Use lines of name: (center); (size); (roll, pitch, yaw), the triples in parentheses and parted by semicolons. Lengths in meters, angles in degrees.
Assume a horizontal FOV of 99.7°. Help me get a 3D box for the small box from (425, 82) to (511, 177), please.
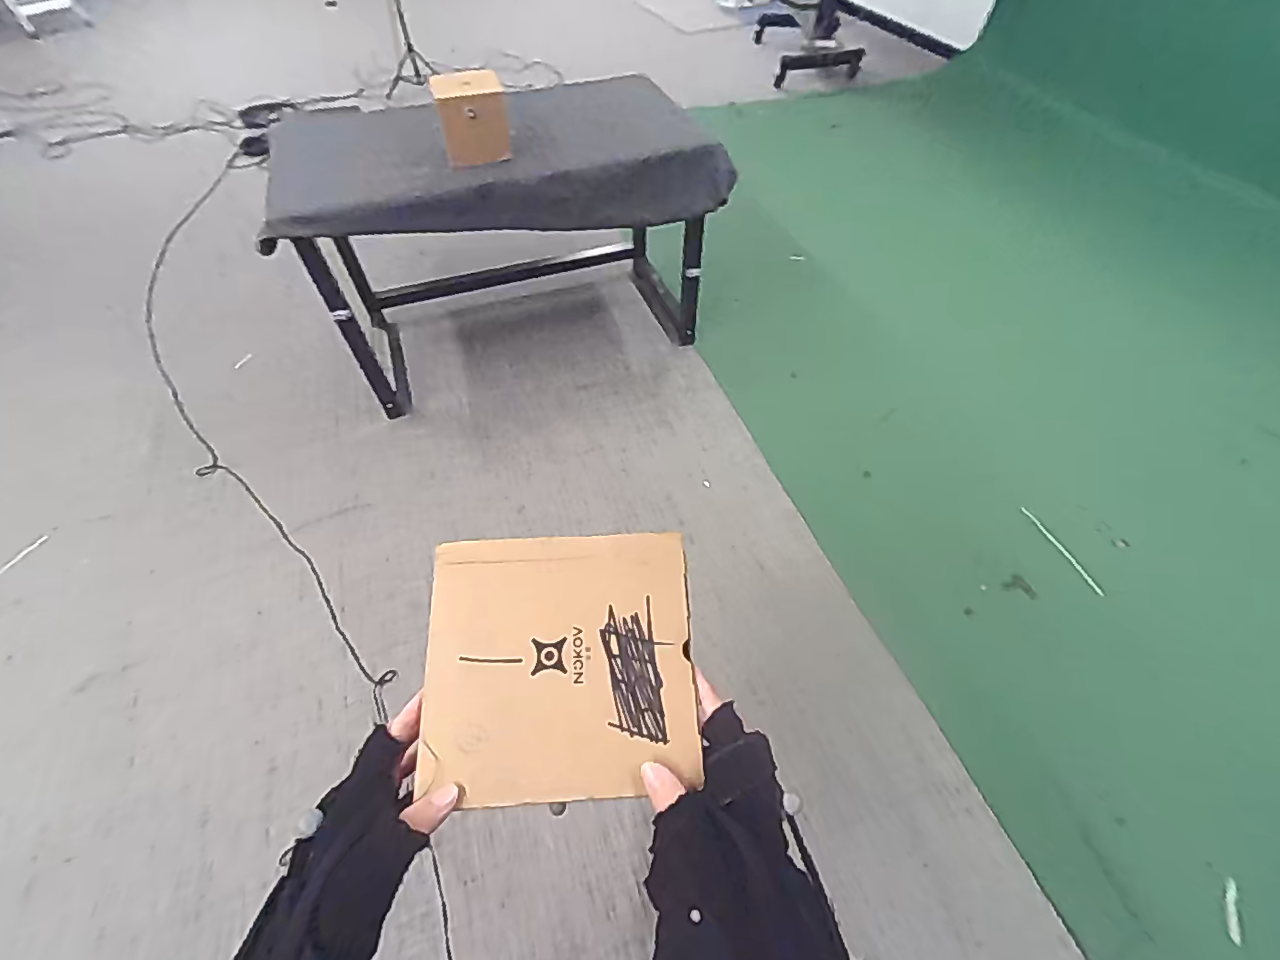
small box: (-0.465, -0.950, 1.474); (0.179, 0.176, 0.168); (-16, 55, -11)

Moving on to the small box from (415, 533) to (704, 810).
small box: (-0.056, 0.148, 0.428); (0.179, 0.176, 0.168); (-3, 66, -4)
